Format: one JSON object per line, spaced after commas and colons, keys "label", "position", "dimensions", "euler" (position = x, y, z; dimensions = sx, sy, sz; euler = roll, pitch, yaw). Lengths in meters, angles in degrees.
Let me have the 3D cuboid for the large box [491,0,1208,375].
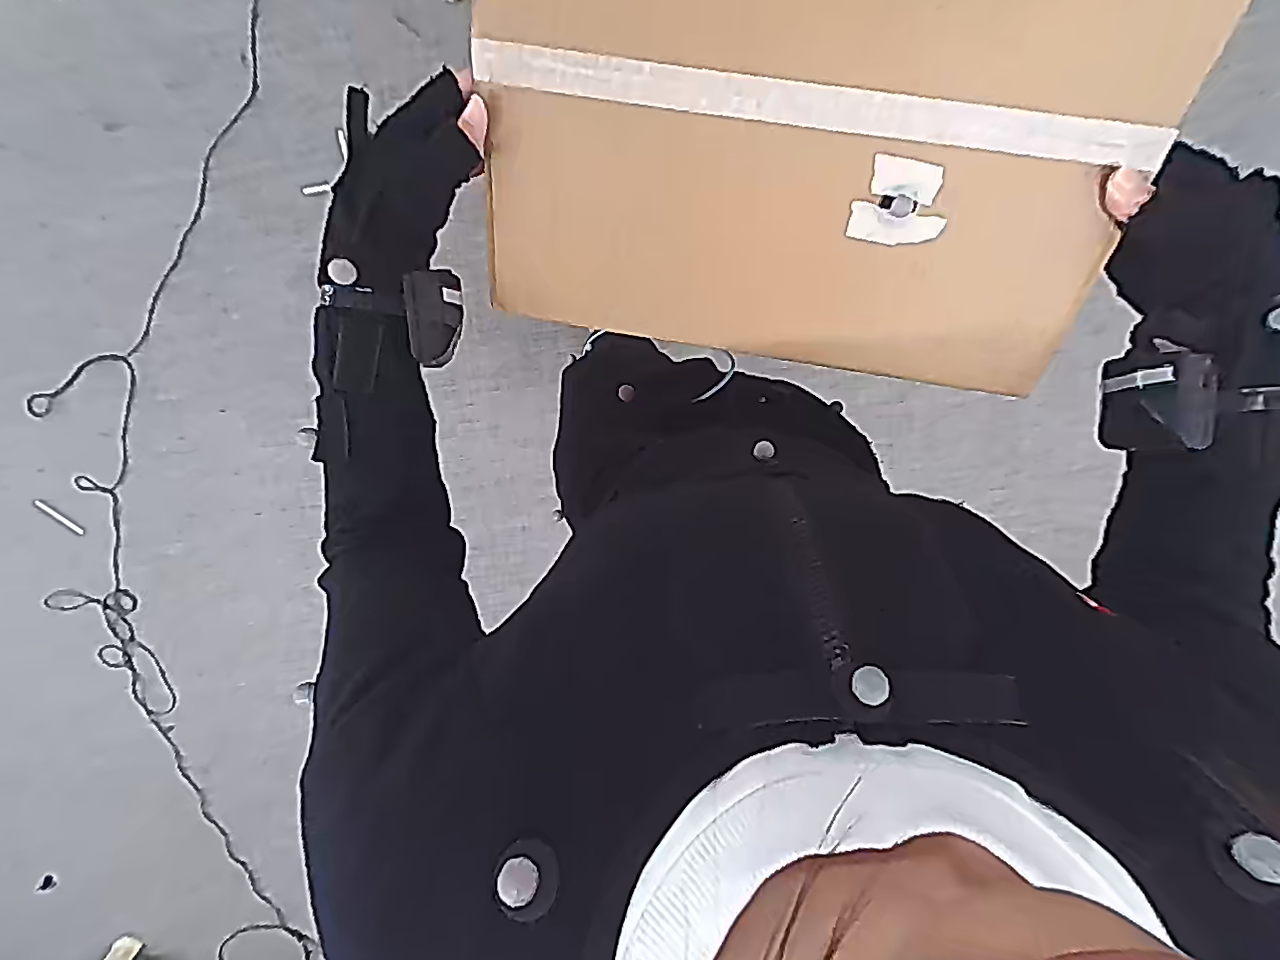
{"label": "large box", "position": [0.119, -0.312, 0.460], "dimensions": [0.408, 0.320, 0.320], "euler": [9, 124, 3]}
